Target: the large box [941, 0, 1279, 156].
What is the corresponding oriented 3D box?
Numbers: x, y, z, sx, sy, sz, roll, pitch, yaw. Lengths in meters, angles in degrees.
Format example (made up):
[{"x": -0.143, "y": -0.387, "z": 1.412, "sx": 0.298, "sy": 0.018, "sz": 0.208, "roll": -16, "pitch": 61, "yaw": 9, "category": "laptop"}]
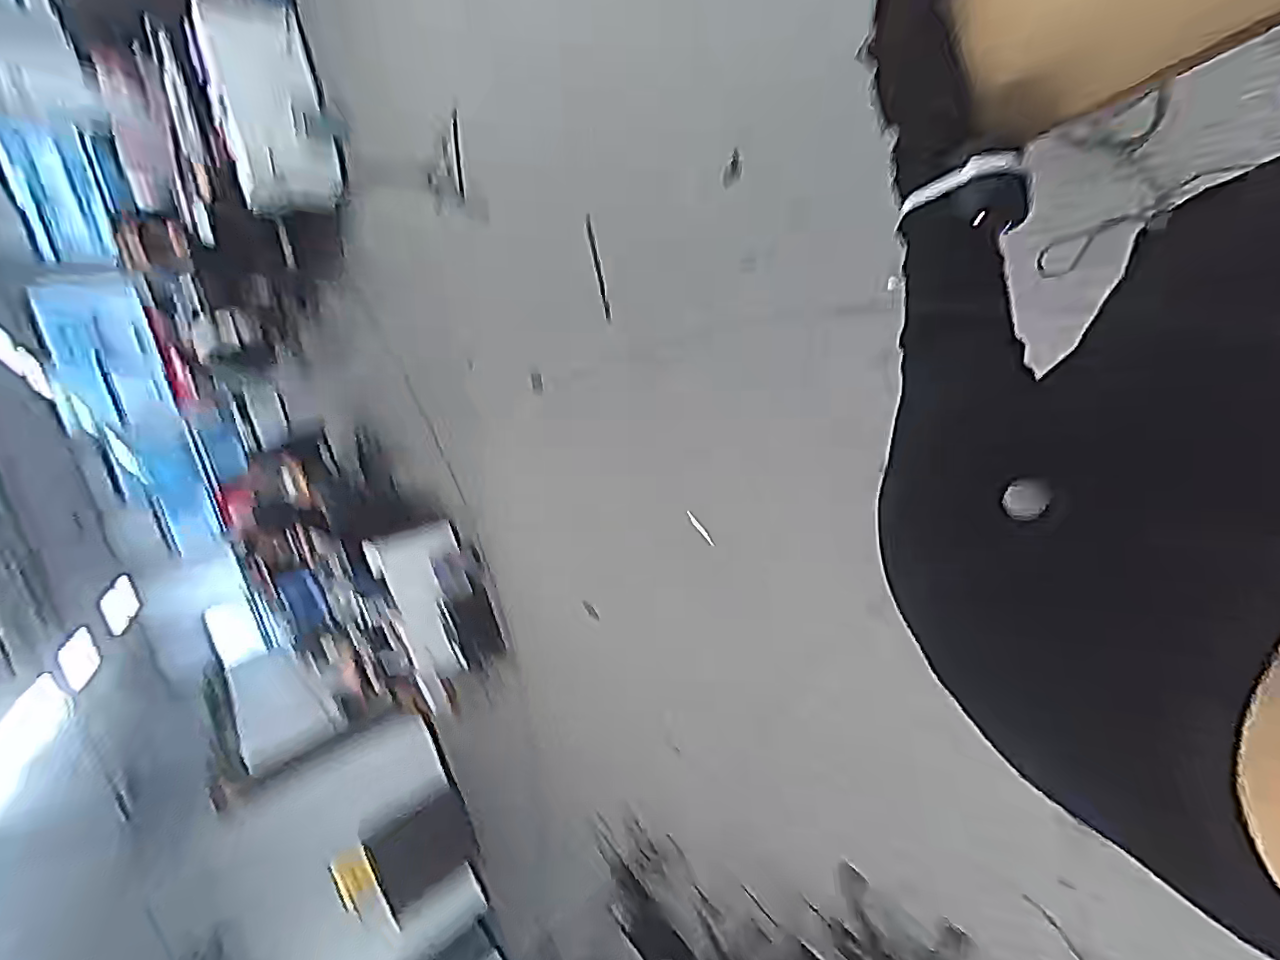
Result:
[{"x": 0.461, "y": -0.509, "z": 0.390, "sx": 0.408, "sy": 0.320, "sz": 0.320, "roll": -13, "pitch": 108, "yaw": 49, "category": "large box"}]
